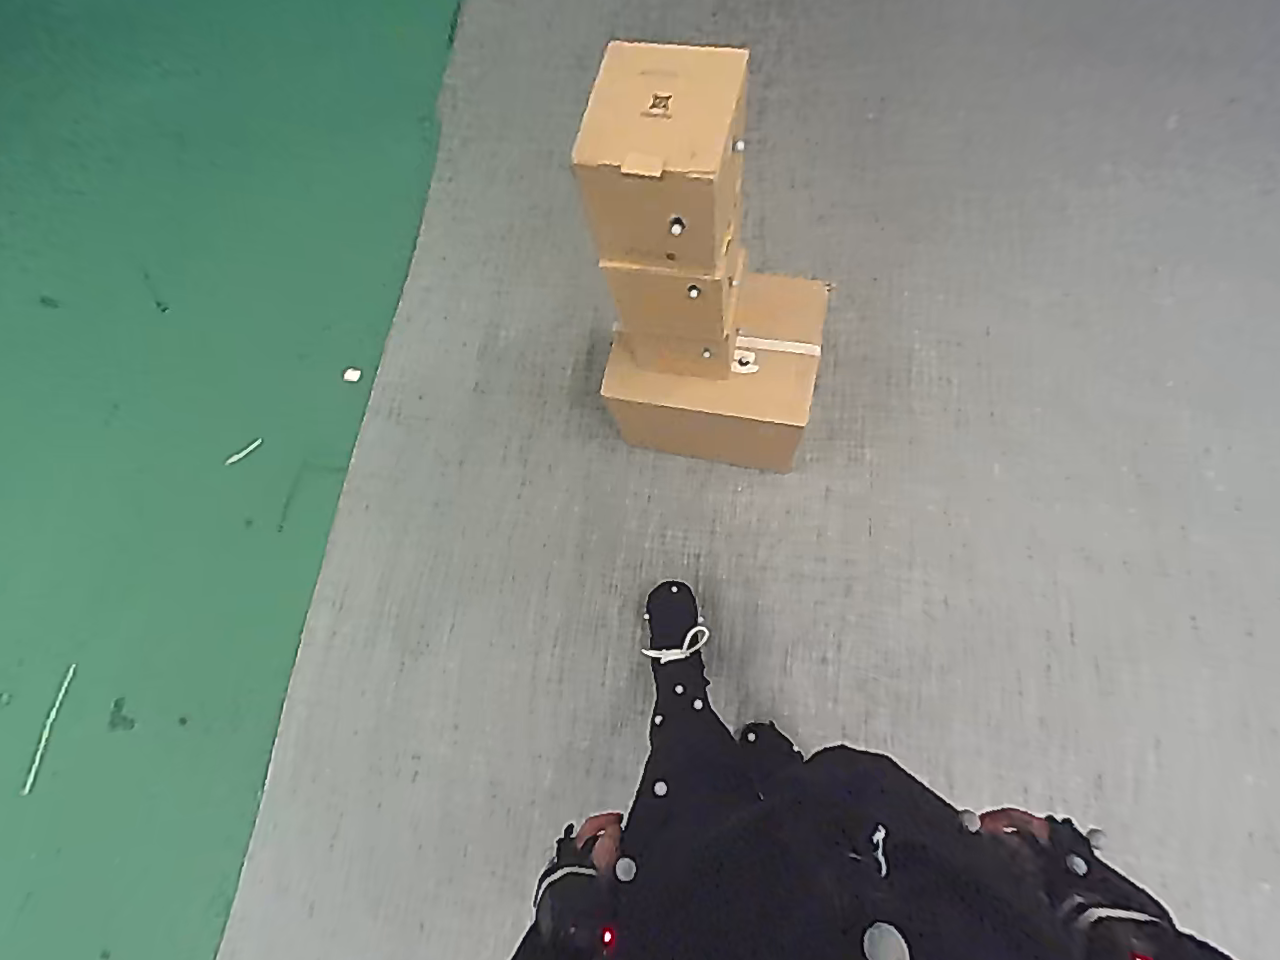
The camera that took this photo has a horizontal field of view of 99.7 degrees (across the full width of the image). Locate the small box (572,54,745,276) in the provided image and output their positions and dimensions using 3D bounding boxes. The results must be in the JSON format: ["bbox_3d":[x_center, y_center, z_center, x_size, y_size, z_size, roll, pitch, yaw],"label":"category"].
[{"bbox_3d":[0.031,-0.383,0.679,0.168,0.176,0.179,11,75,9],"label":"small box"}]

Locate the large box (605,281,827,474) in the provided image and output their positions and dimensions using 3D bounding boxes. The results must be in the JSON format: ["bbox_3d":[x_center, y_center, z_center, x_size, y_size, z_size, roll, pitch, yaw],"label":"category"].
[{"bbox_3d":[0.167,-0.225,1.211,0.408,0.320,0.320,10,77,10],"label":"large box"}]

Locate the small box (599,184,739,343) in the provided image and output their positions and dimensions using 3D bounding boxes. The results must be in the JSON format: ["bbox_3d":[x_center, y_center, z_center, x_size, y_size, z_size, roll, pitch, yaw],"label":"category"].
[{"bbox_3d":[0.052,-0.328,0.831,0.179,0.176,0.168,8,75,10],"label":"small box"}]
